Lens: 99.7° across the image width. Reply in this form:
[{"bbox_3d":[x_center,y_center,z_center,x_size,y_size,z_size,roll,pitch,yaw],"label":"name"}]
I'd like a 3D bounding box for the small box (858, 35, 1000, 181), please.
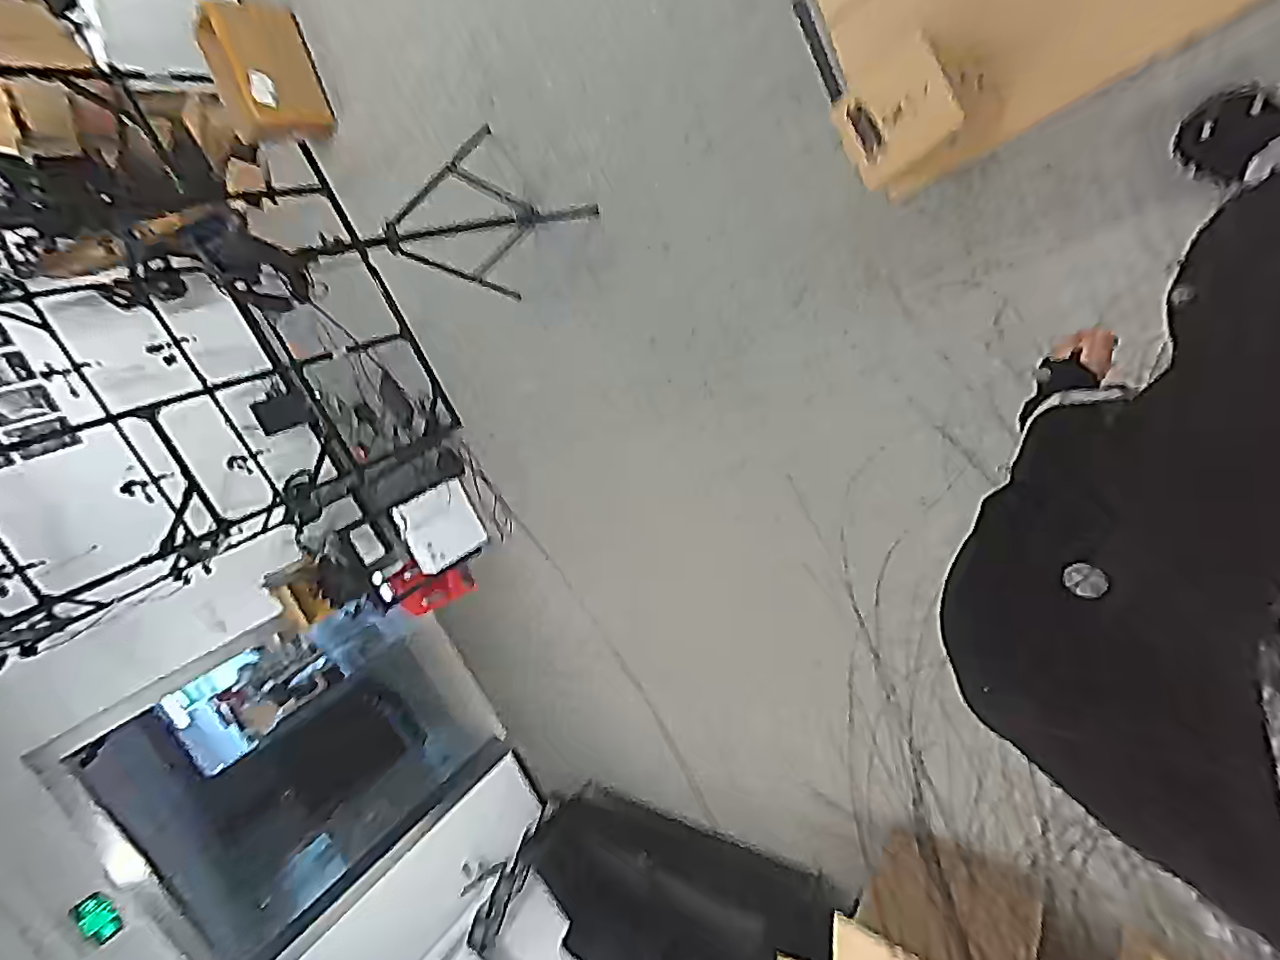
[{"bbox_3d":[0.582,-0.738,1.086,0.179,0.176,0.168,-30,95,50],"label":"small box"}]
